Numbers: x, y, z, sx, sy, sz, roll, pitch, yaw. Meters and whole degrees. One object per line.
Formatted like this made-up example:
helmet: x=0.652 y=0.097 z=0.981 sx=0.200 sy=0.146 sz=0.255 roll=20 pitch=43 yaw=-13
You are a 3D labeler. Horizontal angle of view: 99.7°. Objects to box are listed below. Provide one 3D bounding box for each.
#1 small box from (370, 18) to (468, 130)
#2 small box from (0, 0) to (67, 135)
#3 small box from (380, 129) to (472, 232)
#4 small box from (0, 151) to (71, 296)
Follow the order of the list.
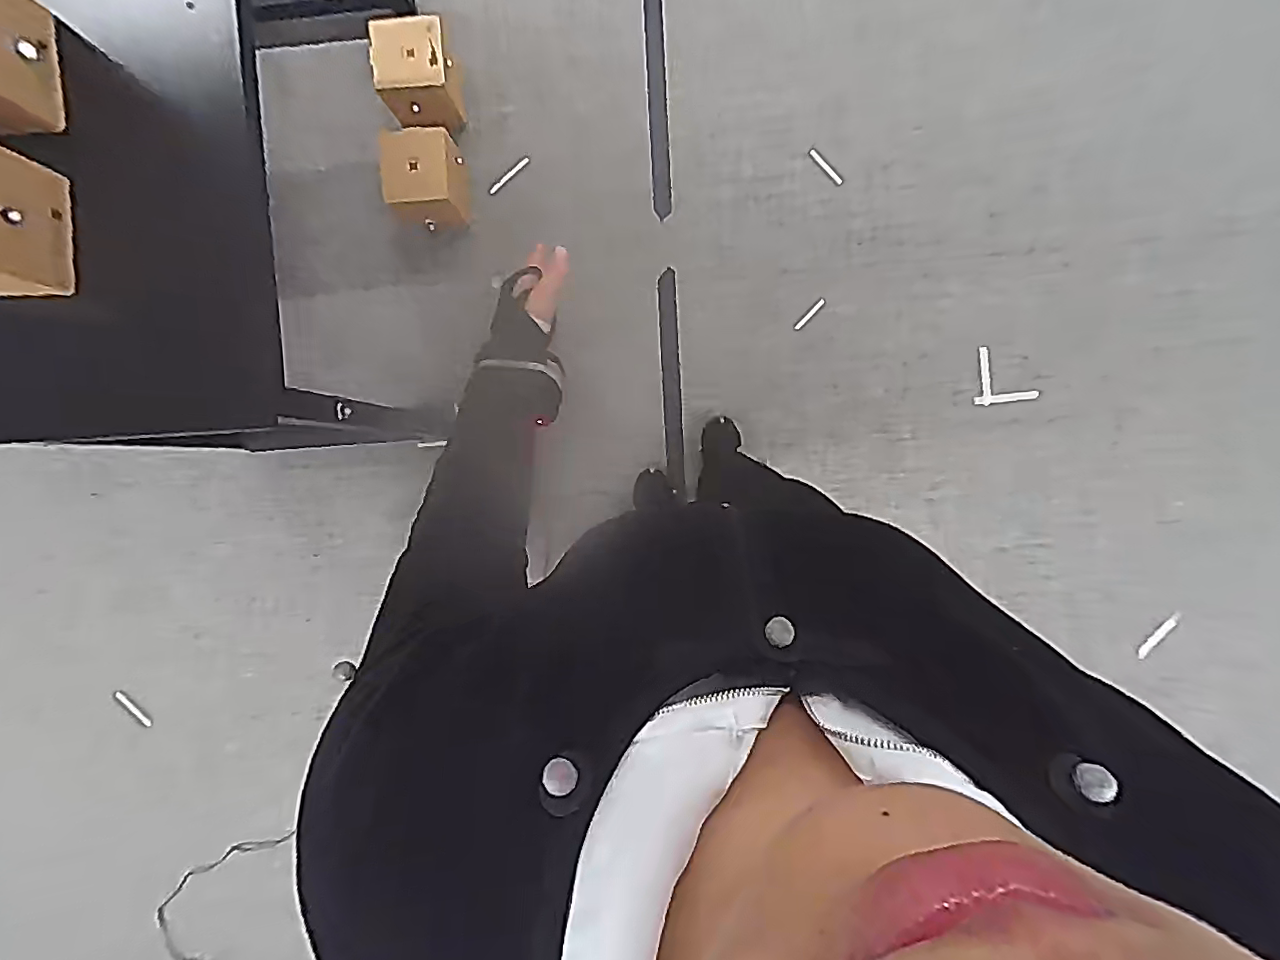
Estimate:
small box: x=-0.562 y=-1.034 z=1.392 sx=0.179 sy=0.176 sz=0.168 roll=-4 pitch=93 yaw=2
small box: x=-0.909 y=-0.569 z=0.691 sx=0.179 sy=0.176 sz=0.168 roll=-4 pitch=93 yaw=1
small box: x=-0.549 y=-0.771 z=1.406 sx=0.168 sy=0.176 sz=0.179 roll=-4 pitch=93 yaw=2
small box: x=-0.900 y=-0.345 z=0.700 sx=0.179 sy=0.176 sz=0.168 roll=0 pitch=92 yaw=1
